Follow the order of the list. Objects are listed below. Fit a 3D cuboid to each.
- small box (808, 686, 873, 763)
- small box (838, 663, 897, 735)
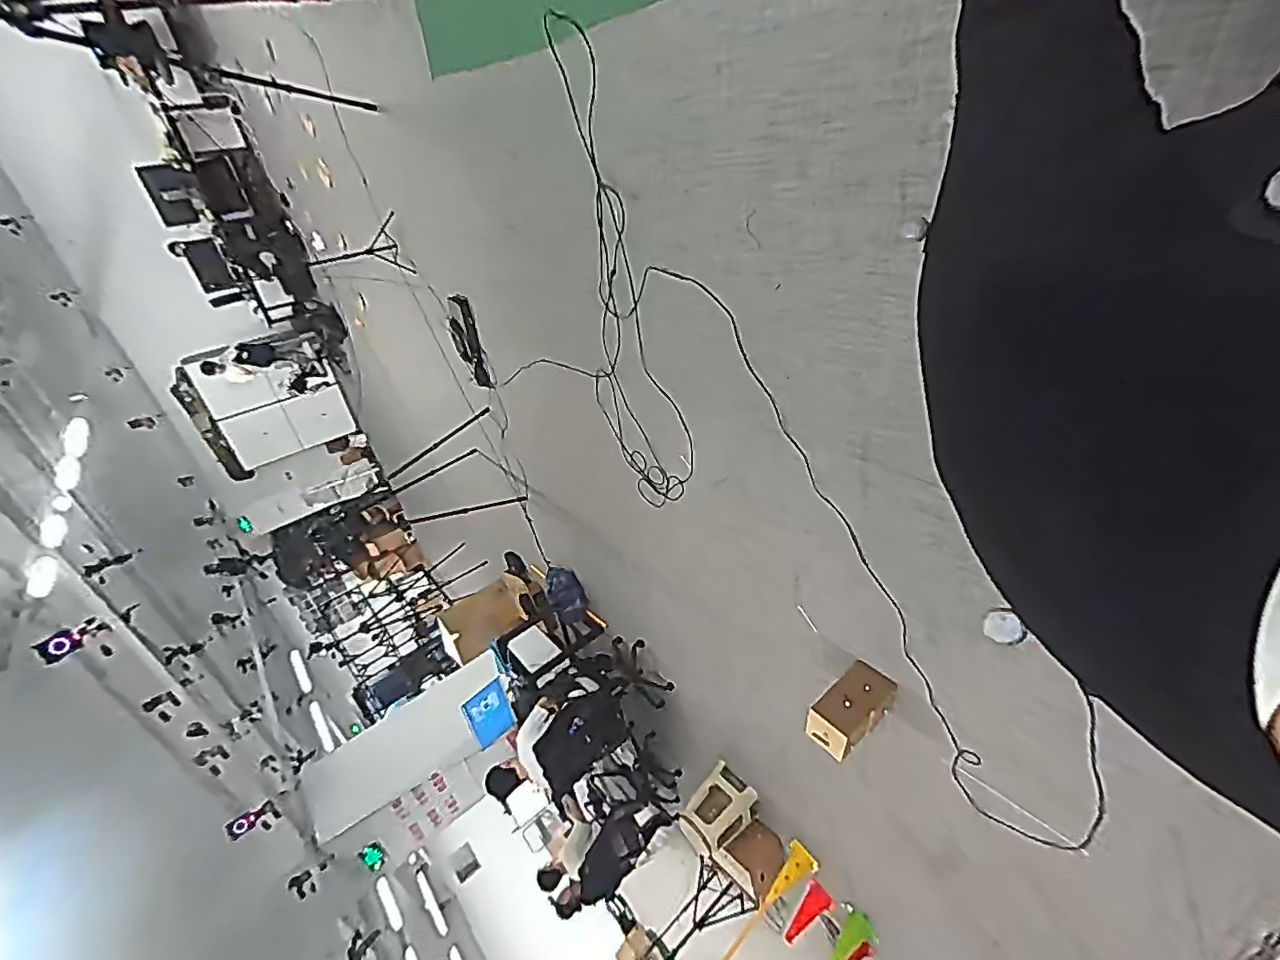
[{"bbox_3d":[0.782,0.947,2.107,0.168,0.176,0.179,32,139,41],"label":"small box"},{"bbox_3d":[0.911,0.880,2.185,0.179,0.176,0.168,30,138,41],"label":"small box"}]
